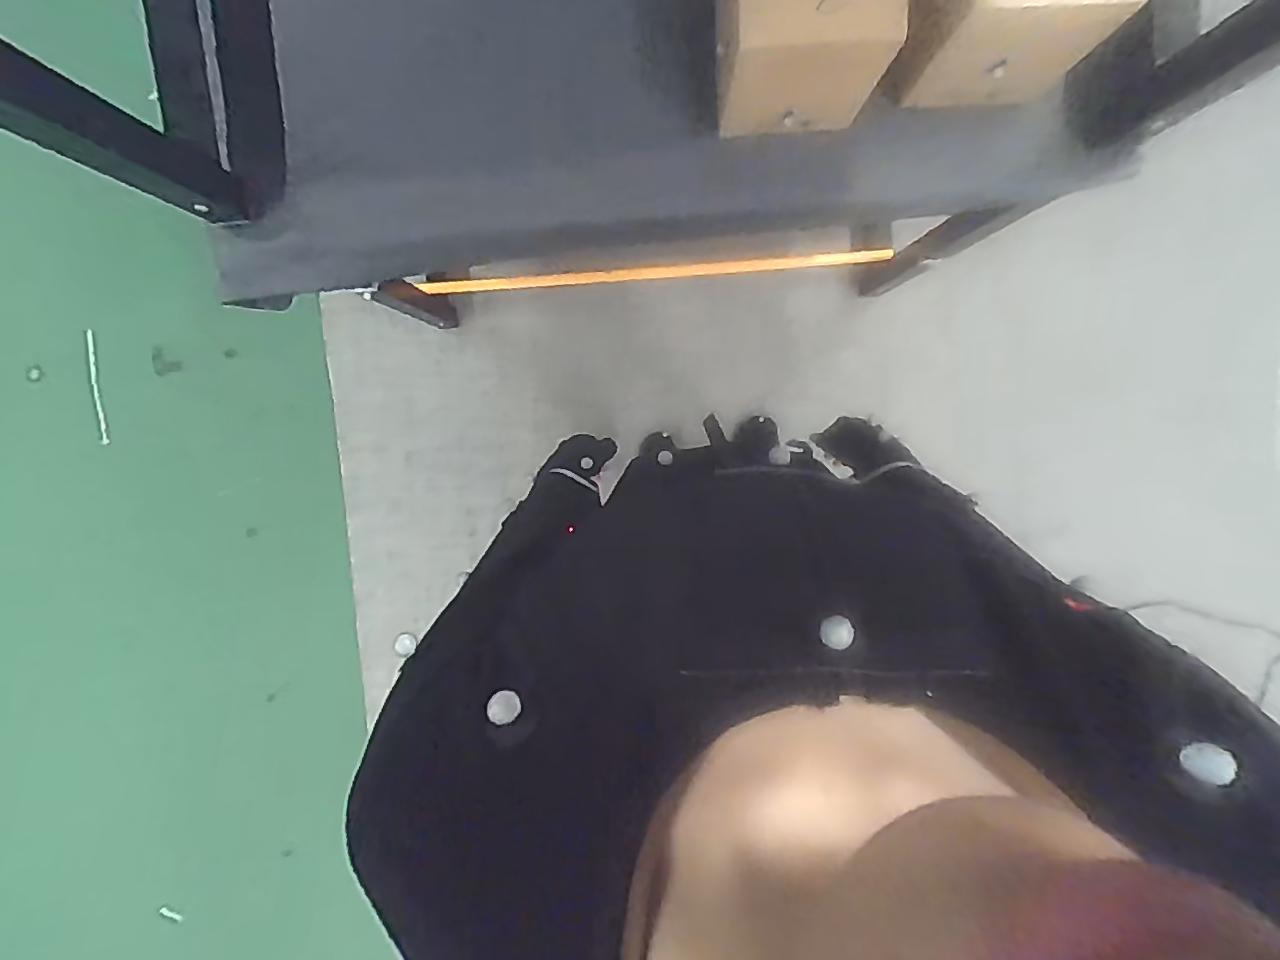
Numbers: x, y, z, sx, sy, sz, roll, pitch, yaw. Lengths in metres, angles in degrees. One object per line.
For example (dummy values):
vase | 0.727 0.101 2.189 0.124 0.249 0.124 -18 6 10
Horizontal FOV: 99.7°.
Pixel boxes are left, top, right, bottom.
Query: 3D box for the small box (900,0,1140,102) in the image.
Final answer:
small box | 0.405 -0.550 0.595 0.168 0.176 0.179 0 95 2
